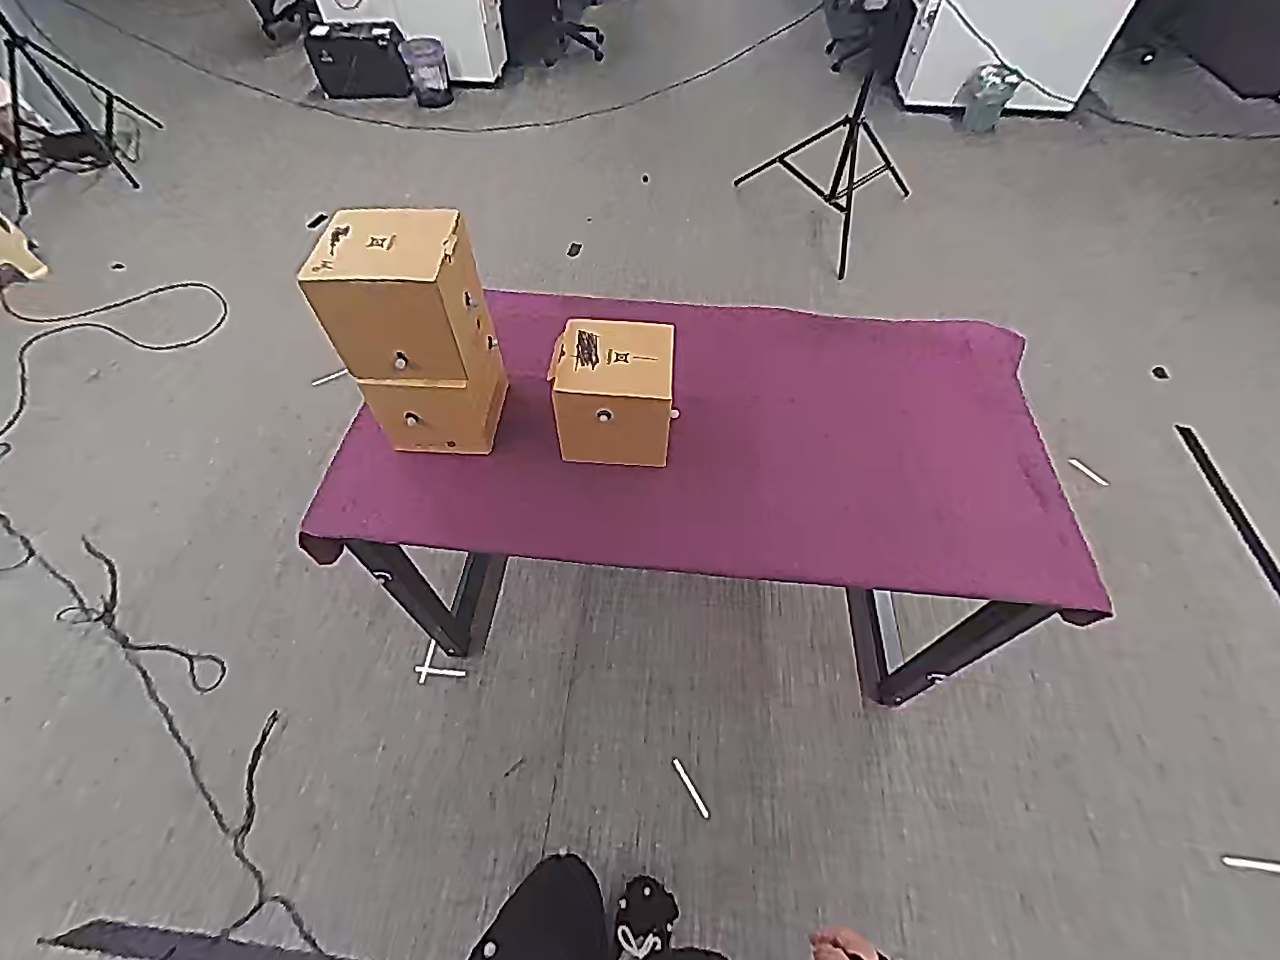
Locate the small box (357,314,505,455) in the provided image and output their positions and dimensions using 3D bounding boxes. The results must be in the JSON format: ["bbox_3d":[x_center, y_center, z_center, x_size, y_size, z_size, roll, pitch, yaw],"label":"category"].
[{"bbox_3d":[-0.333,-0.158,0.906,0.168,0.176,0.179,2,55,1],"label":"small box"}]

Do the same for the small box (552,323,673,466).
[{"bbox_3d":[-0.039,-0.137,0.894,0.179,0.176,0.168,4,55,1],"label":"small box"}]

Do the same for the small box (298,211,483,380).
[{"bbox_3d":[-0.336,-0.258,0.776,0.179,0.176,0.168,1,54,-1],"label":"small box"}]
